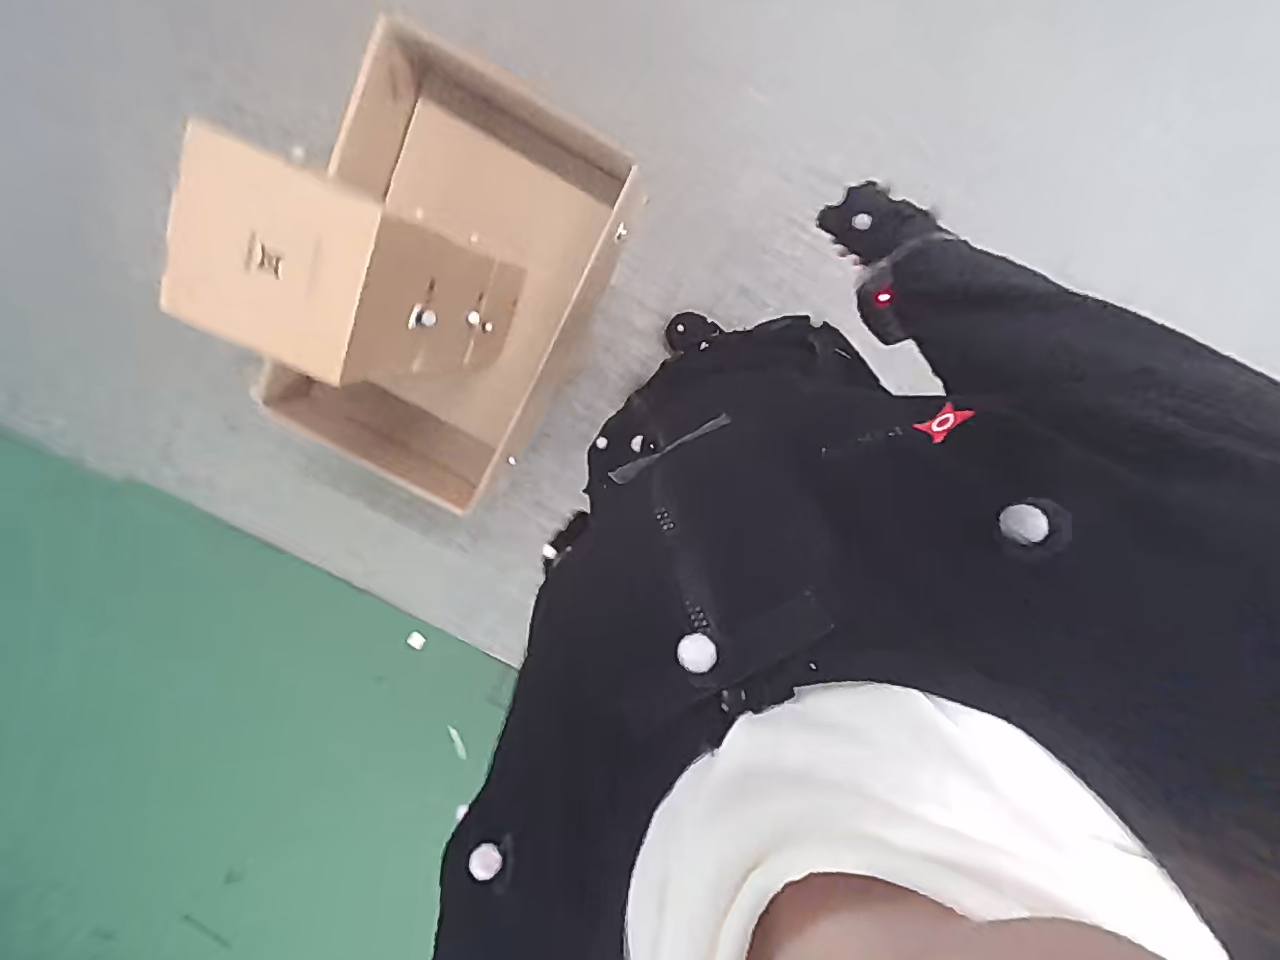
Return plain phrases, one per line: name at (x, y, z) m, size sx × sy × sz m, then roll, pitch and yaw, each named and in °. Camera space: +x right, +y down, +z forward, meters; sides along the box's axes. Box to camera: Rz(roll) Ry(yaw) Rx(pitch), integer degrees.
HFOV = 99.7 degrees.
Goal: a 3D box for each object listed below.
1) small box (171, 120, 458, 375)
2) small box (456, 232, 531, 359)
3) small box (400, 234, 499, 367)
small box at (-0.319, -0.224, 0.558) m, size 0.179 × 0.176 × 0.168 m, roll 23°, pitch 108°, yaw -4°
small box at (-0.300, -0.307, 0.872) m, size 0.179 × 0.176 × 0.168 m, roll 22°, pitch 107°, yaw -2°
small box at (-0.313, -0.263, 0.716) m, size 0.179 × 0.176 × 0.168 m, roll 23°, pitch 106°, yaw -4°
